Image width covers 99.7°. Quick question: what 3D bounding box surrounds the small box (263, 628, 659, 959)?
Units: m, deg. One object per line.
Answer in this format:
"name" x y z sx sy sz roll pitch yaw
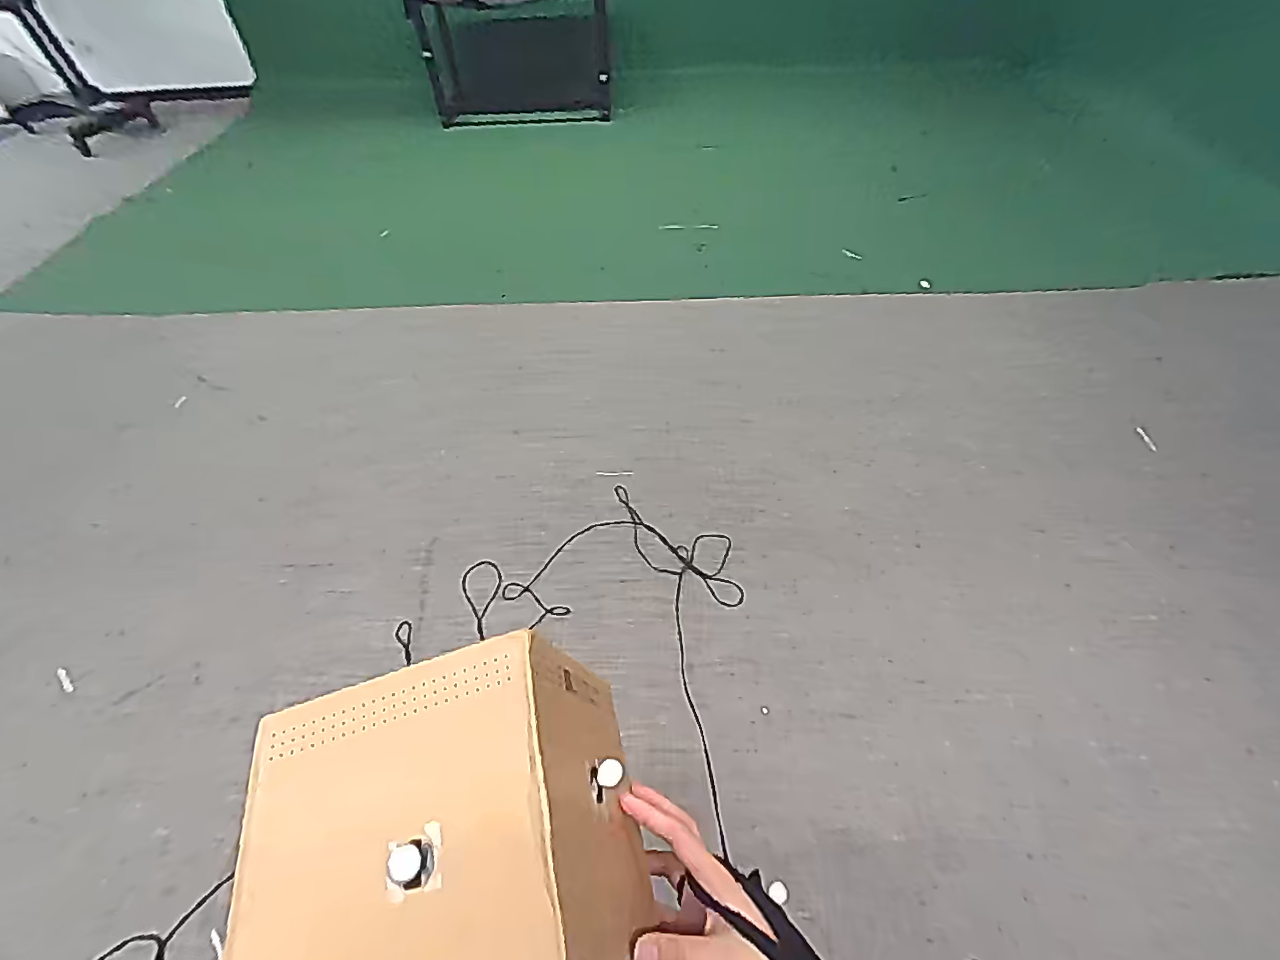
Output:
"small box" -0.108 0.215 0.348 0.179 0.168 0.176 -21 54 3
